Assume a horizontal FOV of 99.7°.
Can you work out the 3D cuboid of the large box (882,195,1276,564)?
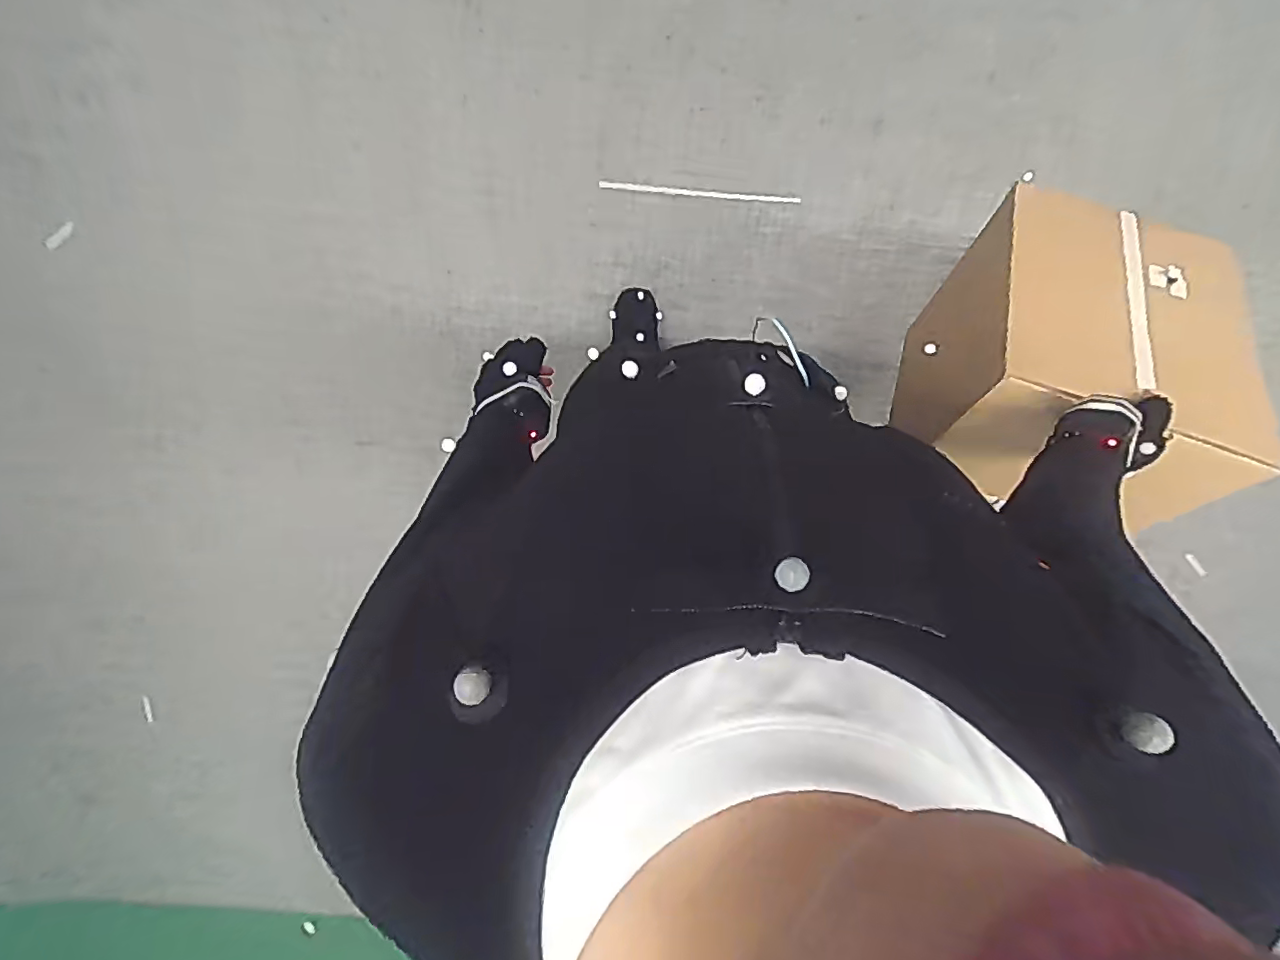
[{"bbox_3d":[0.612,-0.143,0.830,0.320,0.320,0.408,22,61,5],"label":"large box"}]
